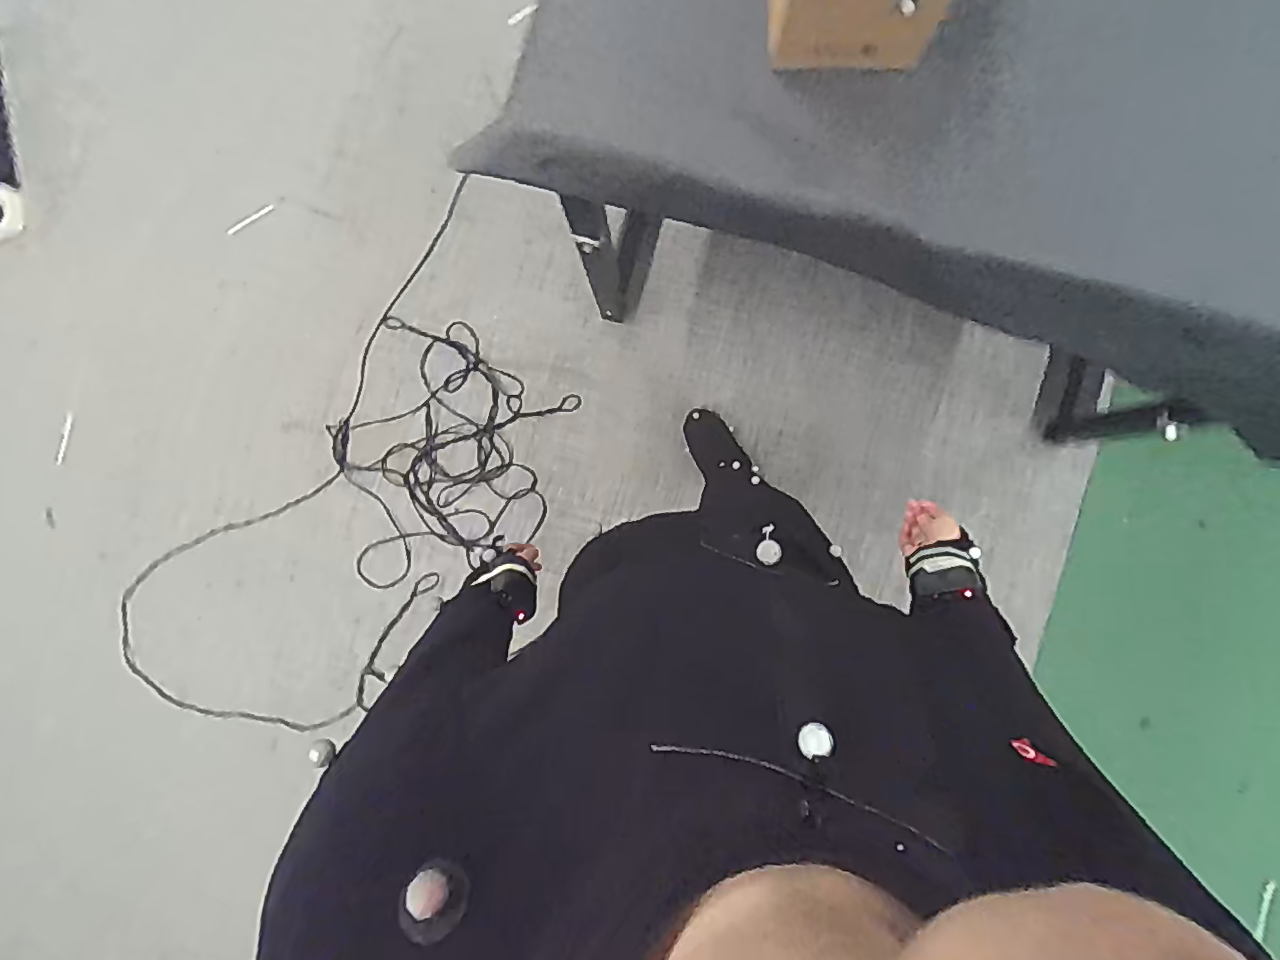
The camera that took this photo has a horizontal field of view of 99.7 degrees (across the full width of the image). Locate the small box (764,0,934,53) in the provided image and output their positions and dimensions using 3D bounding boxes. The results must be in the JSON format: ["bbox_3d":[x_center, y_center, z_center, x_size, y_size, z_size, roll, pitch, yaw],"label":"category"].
[{"bbox_3d":[0.220,-0.564,0.531,0.168,0.176,0.179,0,87,1],"label":"small box"}]
